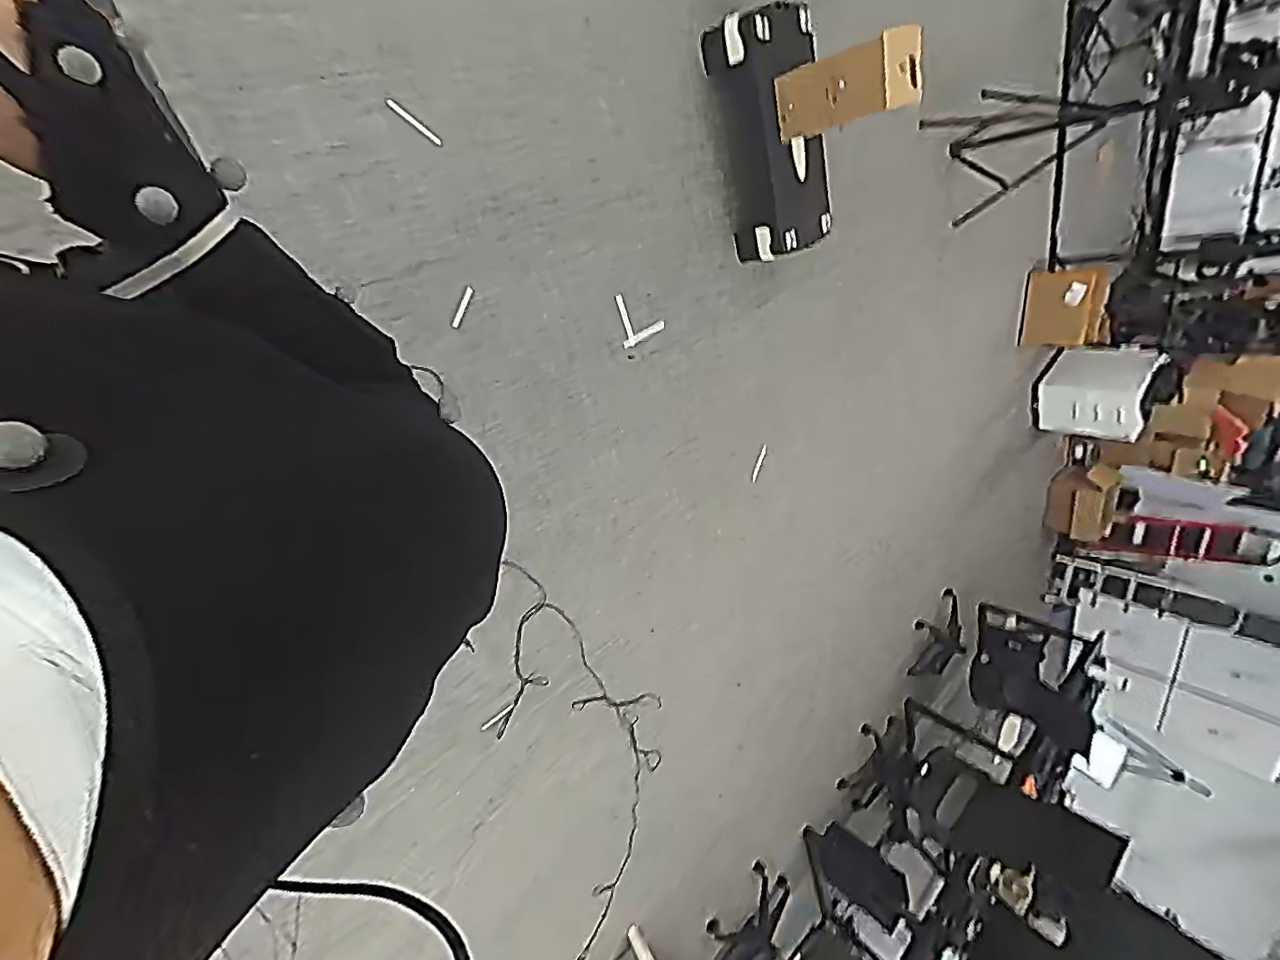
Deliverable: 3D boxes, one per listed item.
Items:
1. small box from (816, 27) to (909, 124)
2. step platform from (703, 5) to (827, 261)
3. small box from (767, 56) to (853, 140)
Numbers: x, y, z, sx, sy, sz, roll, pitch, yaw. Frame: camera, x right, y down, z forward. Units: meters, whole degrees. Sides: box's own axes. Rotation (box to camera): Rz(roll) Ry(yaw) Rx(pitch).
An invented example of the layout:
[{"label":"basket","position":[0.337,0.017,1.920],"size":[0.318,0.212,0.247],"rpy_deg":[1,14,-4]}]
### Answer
[{"label":"small box","position":[0.601,-1.085,1.457],"size":[0.179,0.176,0.168],"rpy_deg":[-32,121,-28]},{"label":"step platform","position":[0.424,-1.093,1.757],"size":[0.286,0.204,0.684],"rpy_deg":[-34,121,-28]},{"label":"small box","position":[0.496,-1.118,1.580],"size":[0.179,0.176,0.168],"rpy_deg":[-32,120,-29]}]
